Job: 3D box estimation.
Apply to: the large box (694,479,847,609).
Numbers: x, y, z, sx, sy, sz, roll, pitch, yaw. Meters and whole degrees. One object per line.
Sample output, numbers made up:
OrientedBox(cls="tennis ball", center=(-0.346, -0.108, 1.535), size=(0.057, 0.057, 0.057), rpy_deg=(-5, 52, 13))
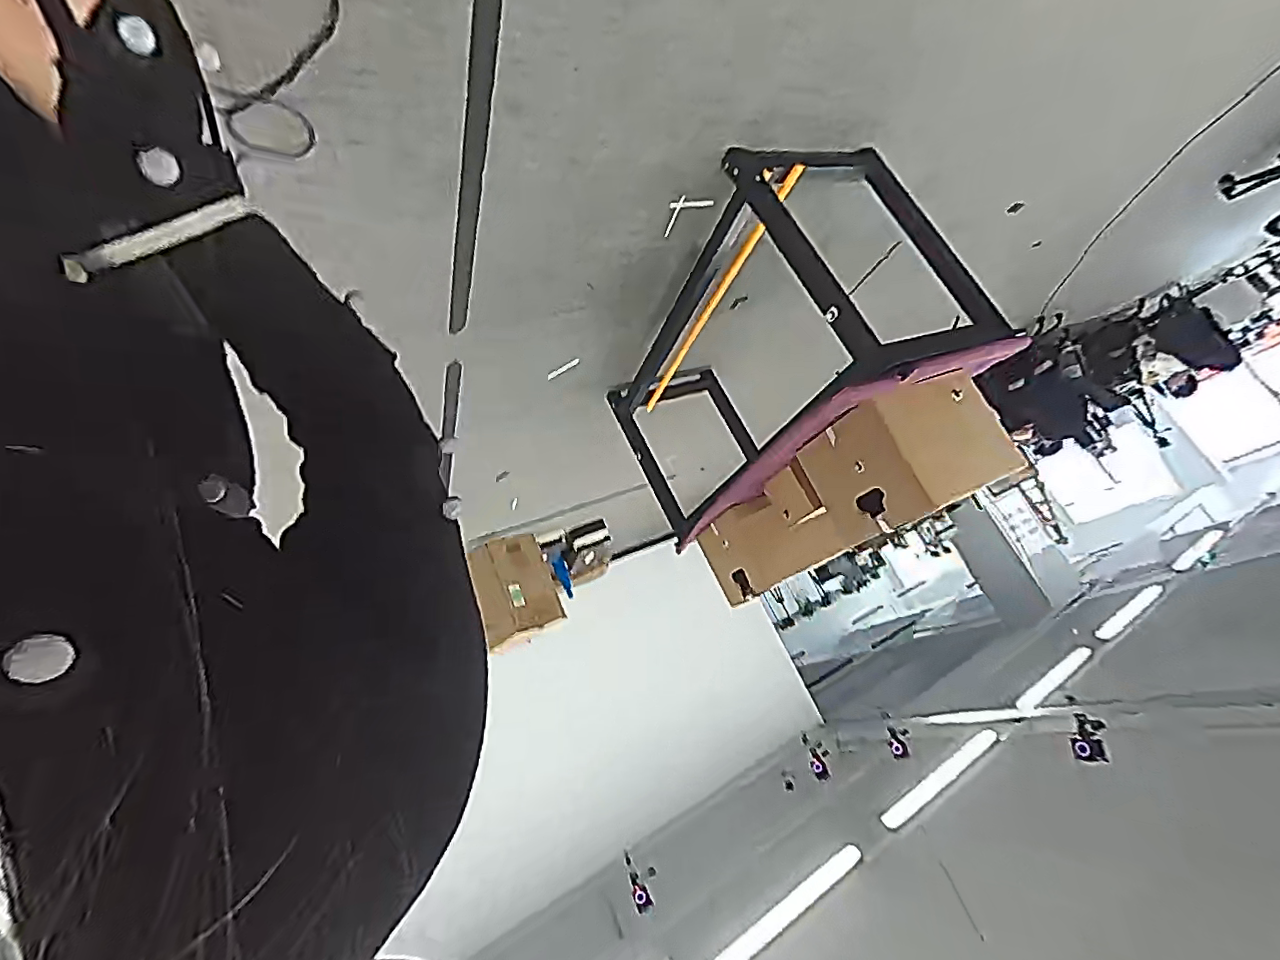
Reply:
OrientedBox(cls="large box", center=(0.485, 0.242, 2.070), size=(0.408, 0.320, 0.320), rpy_deg=(-19, 163, -28))
